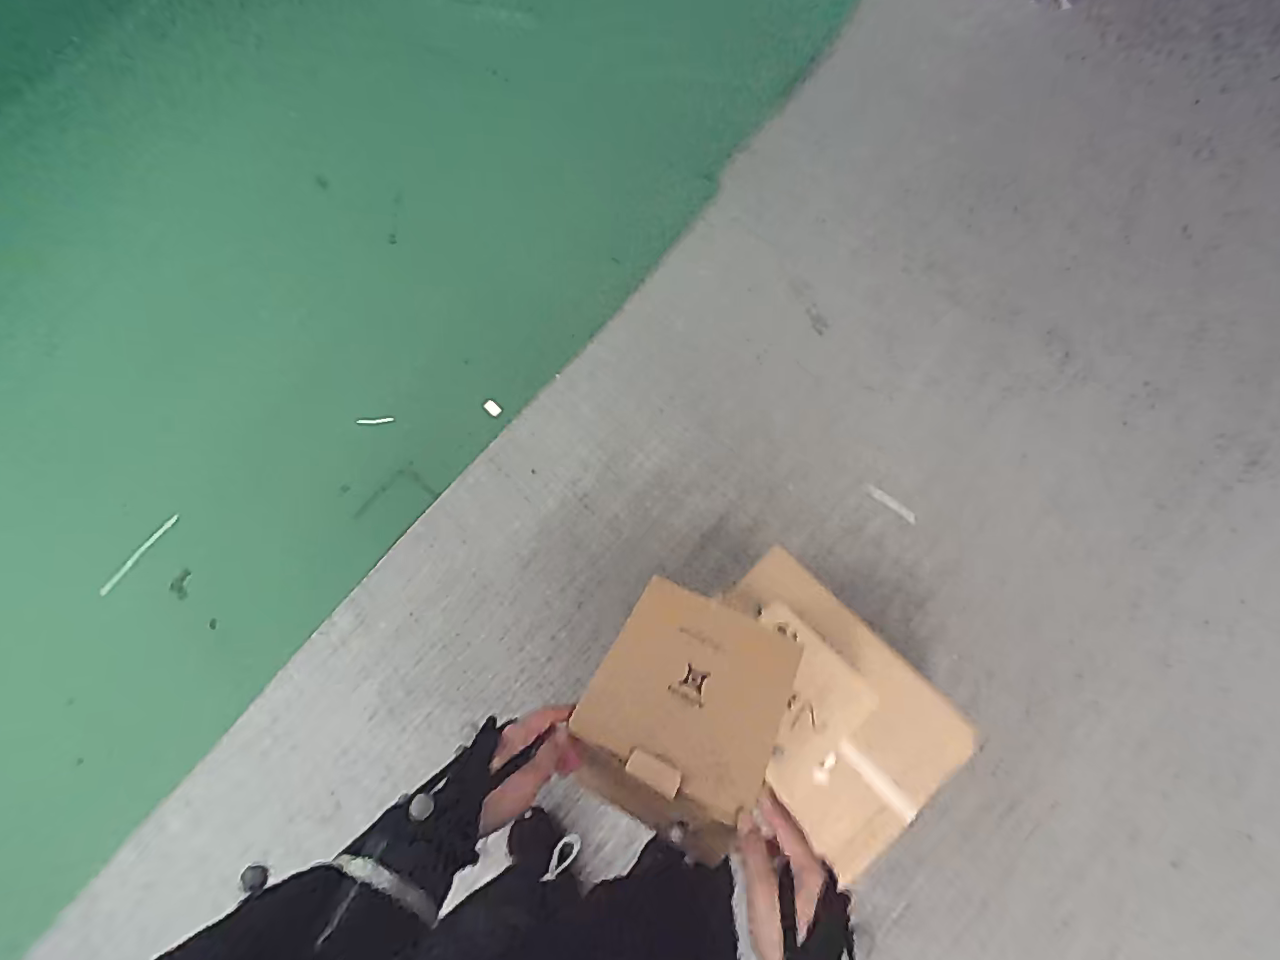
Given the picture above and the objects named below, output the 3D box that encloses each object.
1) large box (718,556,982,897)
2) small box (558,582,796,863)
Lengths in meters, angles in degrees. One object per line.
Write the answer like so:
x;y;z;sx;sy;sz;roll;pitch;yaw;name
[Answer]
0.285;0.401;0.978;0.320;0.320;0.408;-44;70;-3;large box
0.036;0.243;0.542;0.168;0.176;0.179;22;48;15;small box
